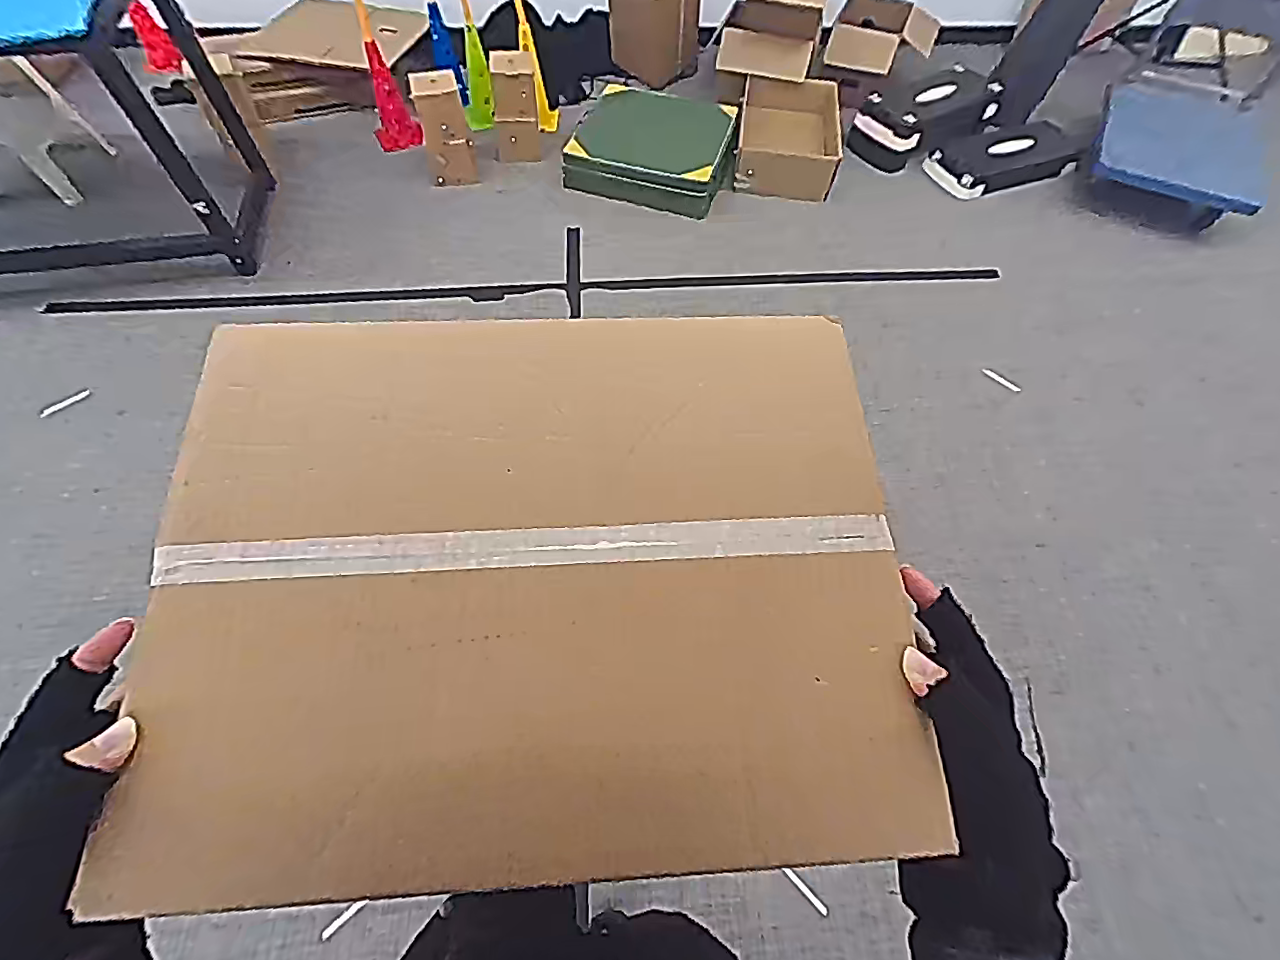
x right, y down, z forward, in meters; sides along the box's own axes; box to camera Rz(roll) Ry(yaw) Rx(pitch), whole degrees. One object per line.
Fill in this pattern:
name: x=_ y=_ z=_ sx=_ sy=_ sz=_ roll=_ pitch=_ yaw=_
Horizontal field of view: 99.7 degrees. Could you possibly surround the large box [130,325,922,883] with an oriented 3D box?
large box: x=-0.065 y=0.093 z=0.461 sx=0.408 sy=0.320 sz=0.320 roll=-2 pitch=70 yaw=-4
